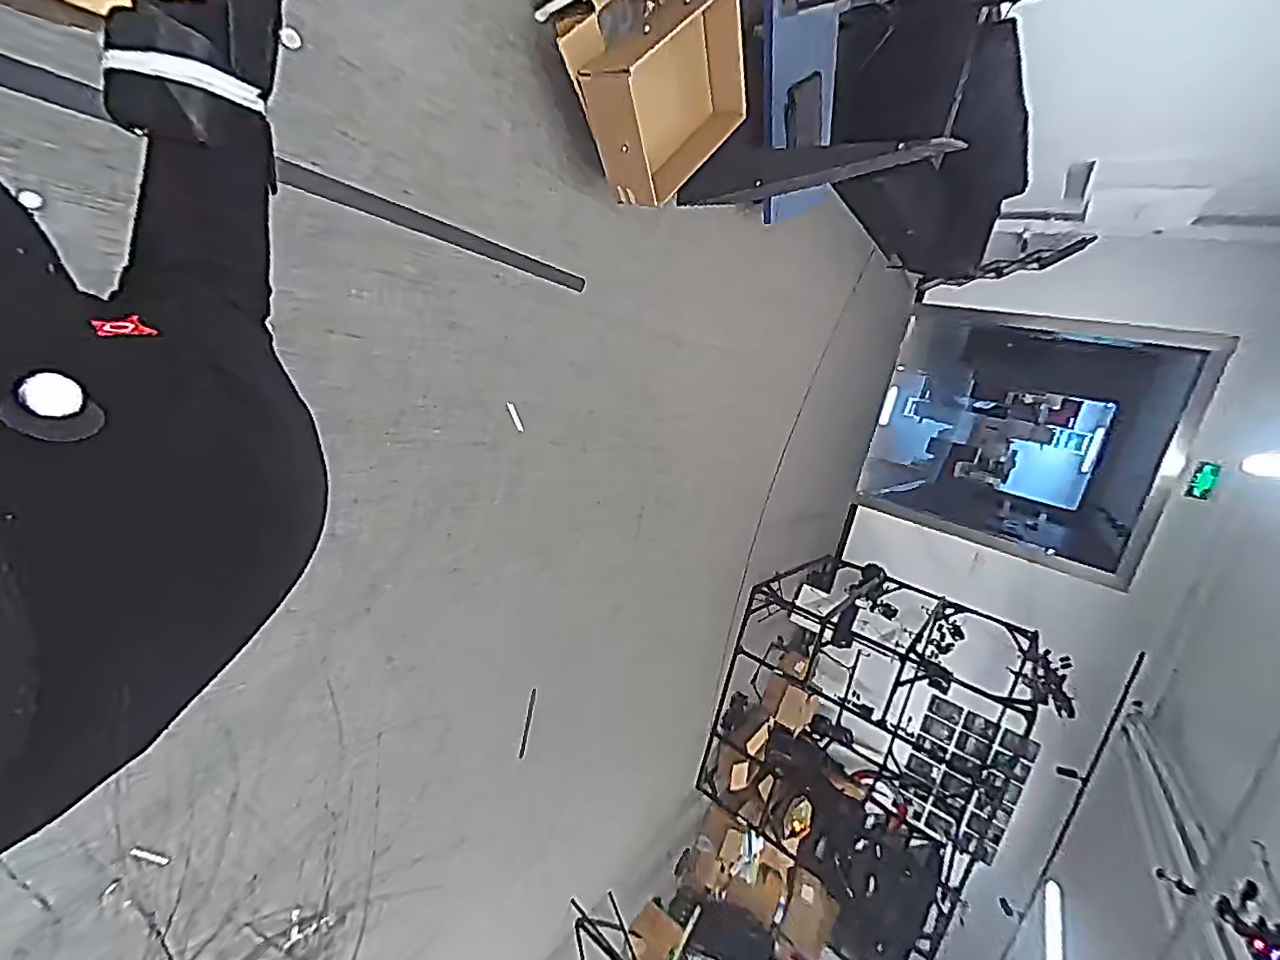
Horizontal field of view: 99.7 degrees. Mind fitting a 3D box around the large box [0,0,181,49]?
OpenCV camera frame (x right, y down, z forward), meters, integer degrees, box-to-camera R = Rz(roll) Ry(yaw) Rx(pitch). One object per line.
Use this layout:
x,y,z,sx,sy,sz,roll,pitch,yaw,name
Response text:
-0.494,-0.460,0.220,0.408,0.320,0.320,-12,127,-54,large box
